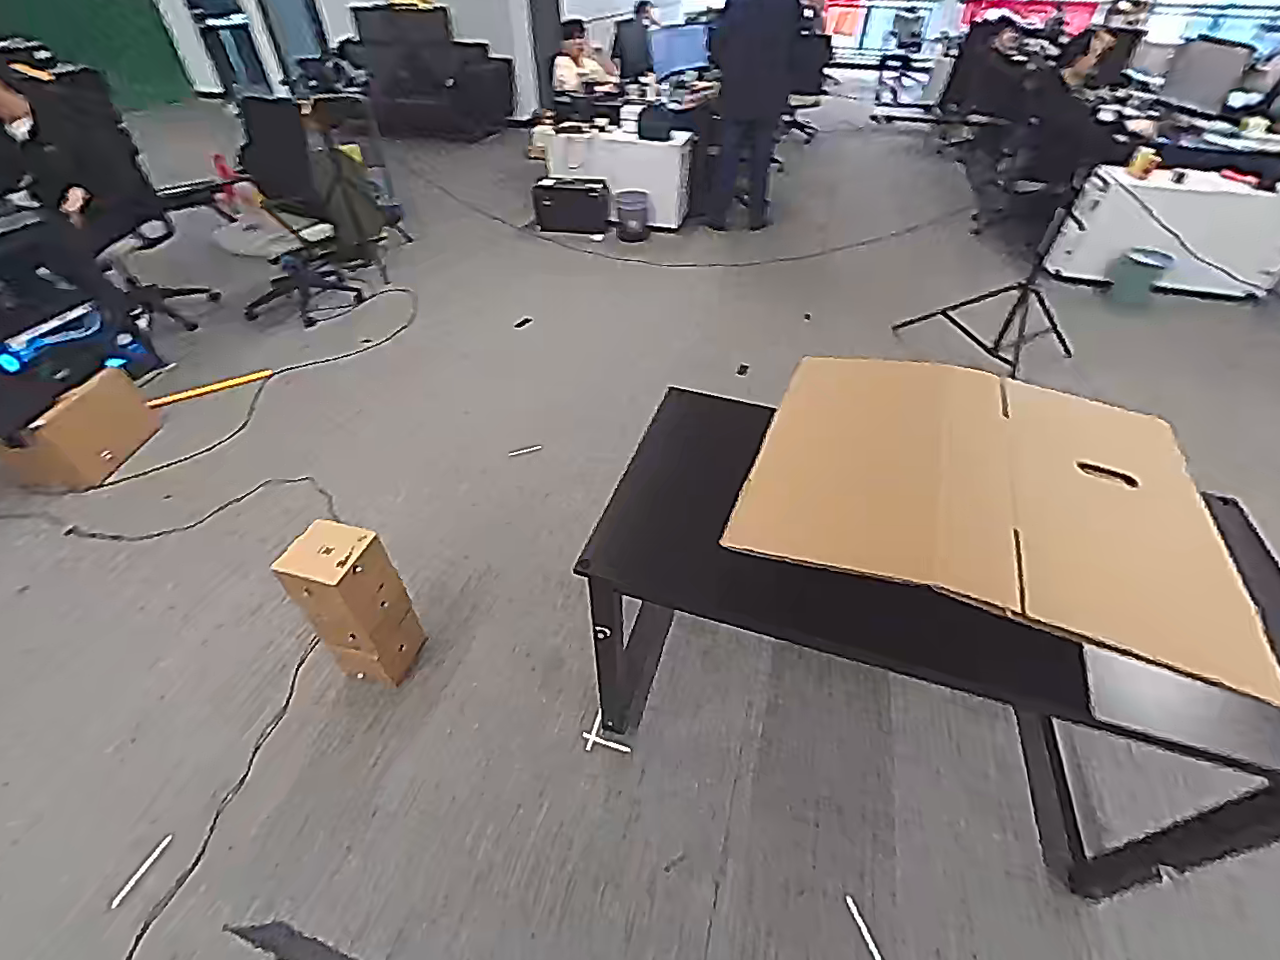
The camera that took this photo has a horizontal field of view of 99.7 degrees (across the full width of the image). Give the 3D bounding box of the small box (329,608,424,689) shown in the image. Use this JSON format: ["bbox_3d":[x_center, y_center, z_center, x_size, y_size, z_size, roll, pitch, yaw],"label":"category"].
[{"bbox_3d":[-0.752,0.473,1.572,0.168,0.176,0.179,10,45,10],"label":"small box"}]

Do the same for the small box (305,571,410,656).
[{"bbox_3d":[-0.752,0.351,1.465,0.168,0.176,0.179,9,43,6],"label":"small box"}]

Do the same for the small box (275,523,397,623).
[{"bbox_3d":[-0.747,0.234,1.350,0.179,0.176,0.168,10,44,10],"label":"small box"}]
